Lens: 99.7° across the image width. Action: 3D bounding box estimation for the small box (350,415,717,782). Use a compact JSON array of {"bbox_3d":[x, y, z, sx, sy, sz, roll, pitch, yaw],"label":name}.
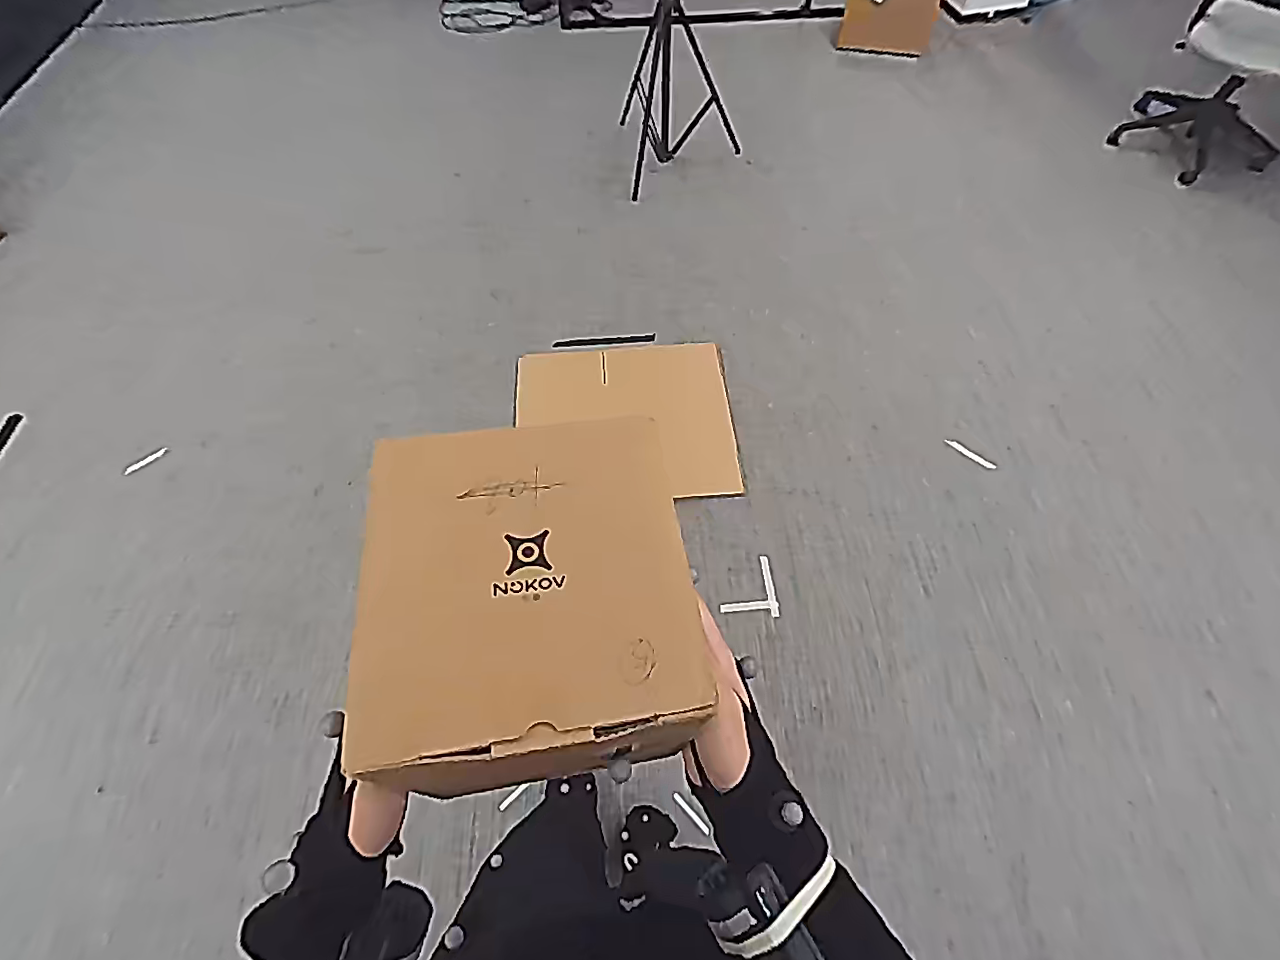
[{"bbox_3d":[-0.062,0.083,0.348,0.168,0.176,0.179,-6,57,-10],"label":"small box"}]
